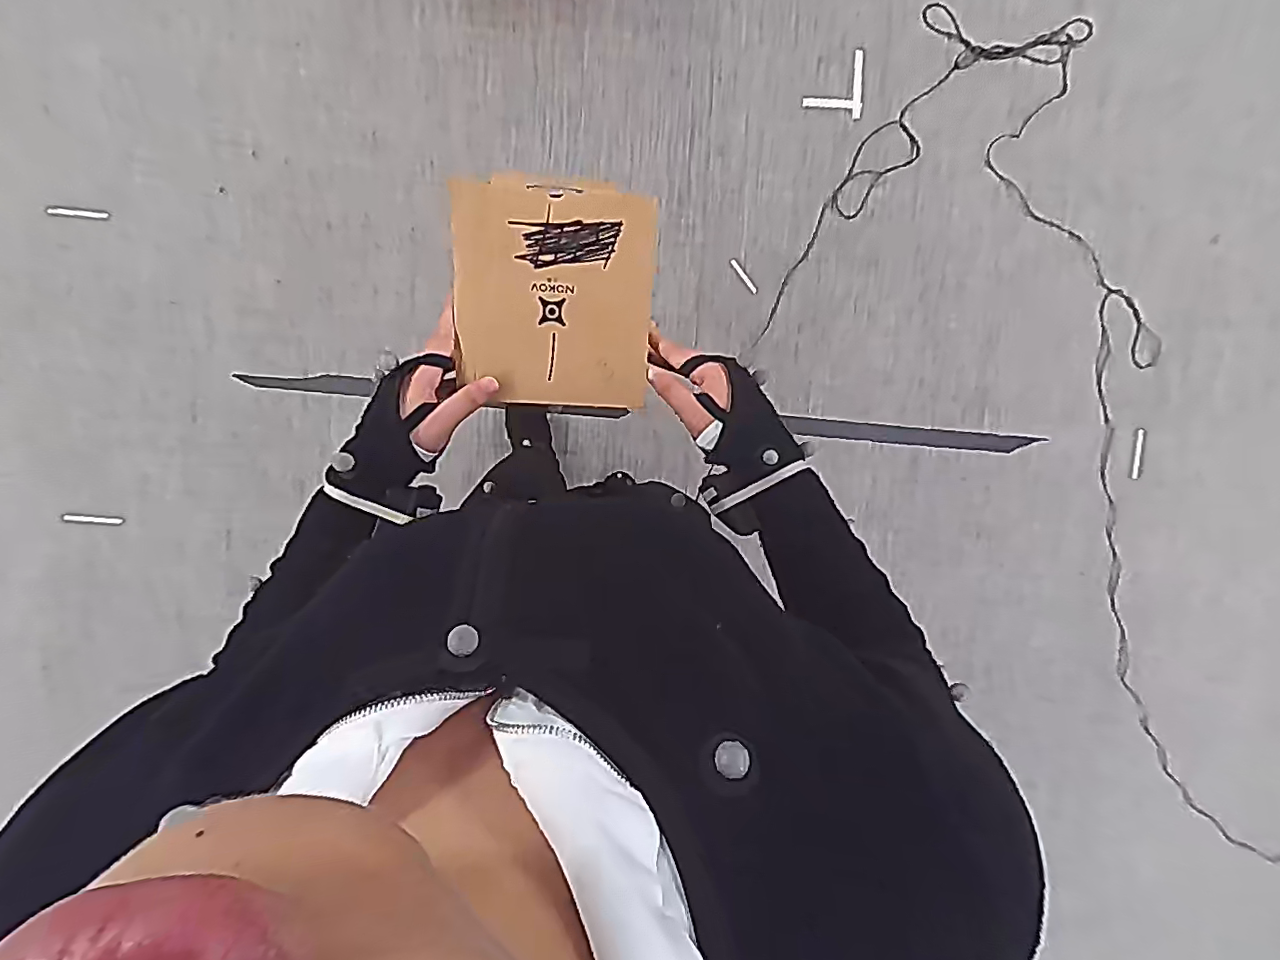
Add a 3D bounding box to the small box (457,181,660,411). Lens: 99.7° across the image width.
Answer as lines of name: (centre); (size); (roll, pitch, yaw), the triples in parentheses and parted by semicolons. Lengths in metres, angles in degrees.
small box: (-0.076, -0.164, 0.529); (0.168, 0.176, 0.179); (2, 102, -5)
